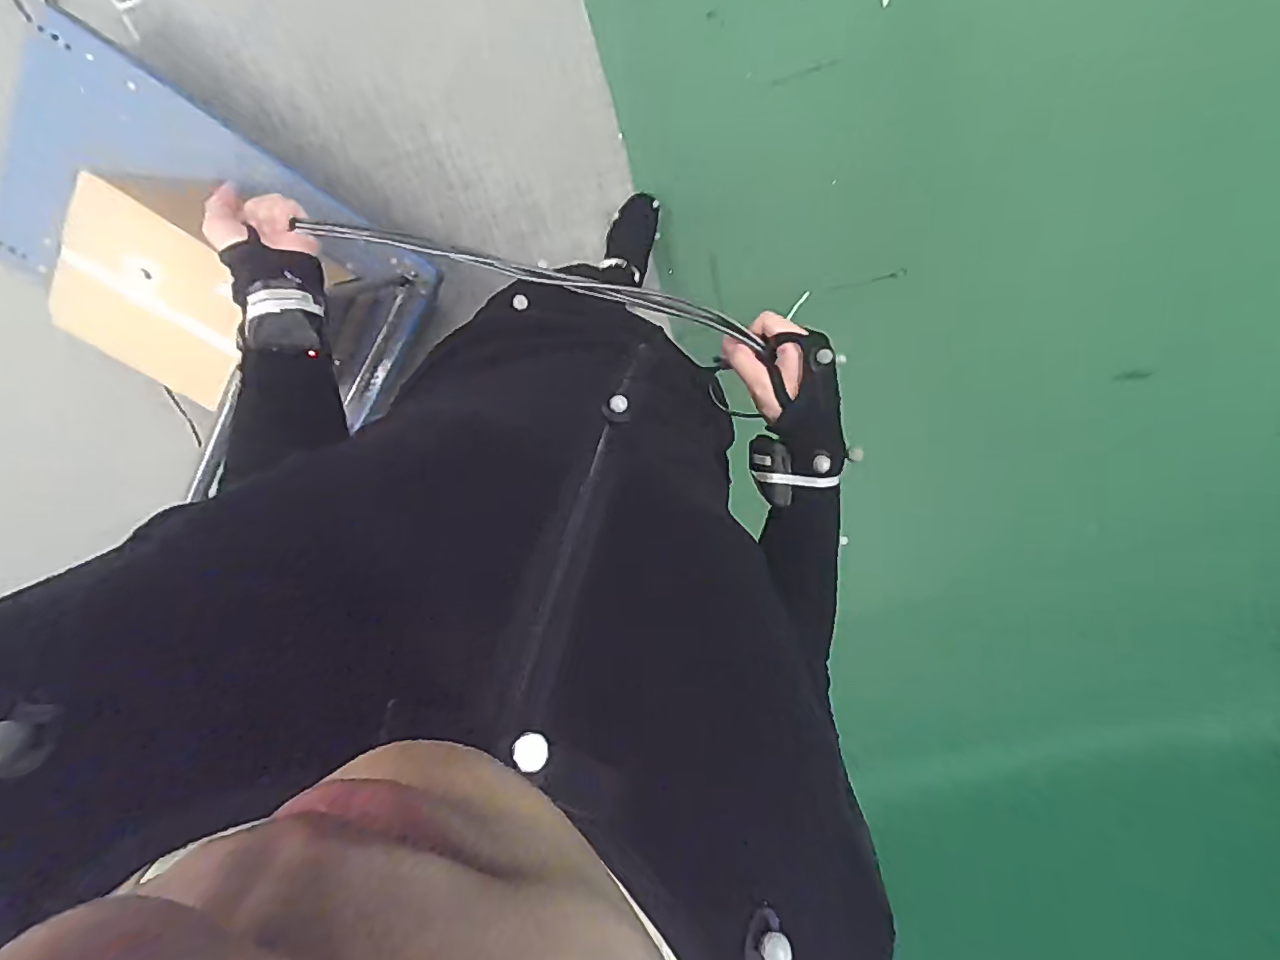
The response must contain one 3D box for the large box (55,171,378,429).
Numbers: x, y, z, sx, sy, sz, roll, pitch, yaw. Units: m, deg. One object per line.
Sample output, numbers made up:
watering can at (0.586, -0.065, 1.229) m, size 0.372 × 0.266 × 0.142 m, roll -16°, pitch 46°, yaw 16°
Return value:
large box at (-0.861, -0.379, 1.153) m, size 0.408 × 0.320 × 0.320 m, roll 33°, pitch 110°, yaw -14°
